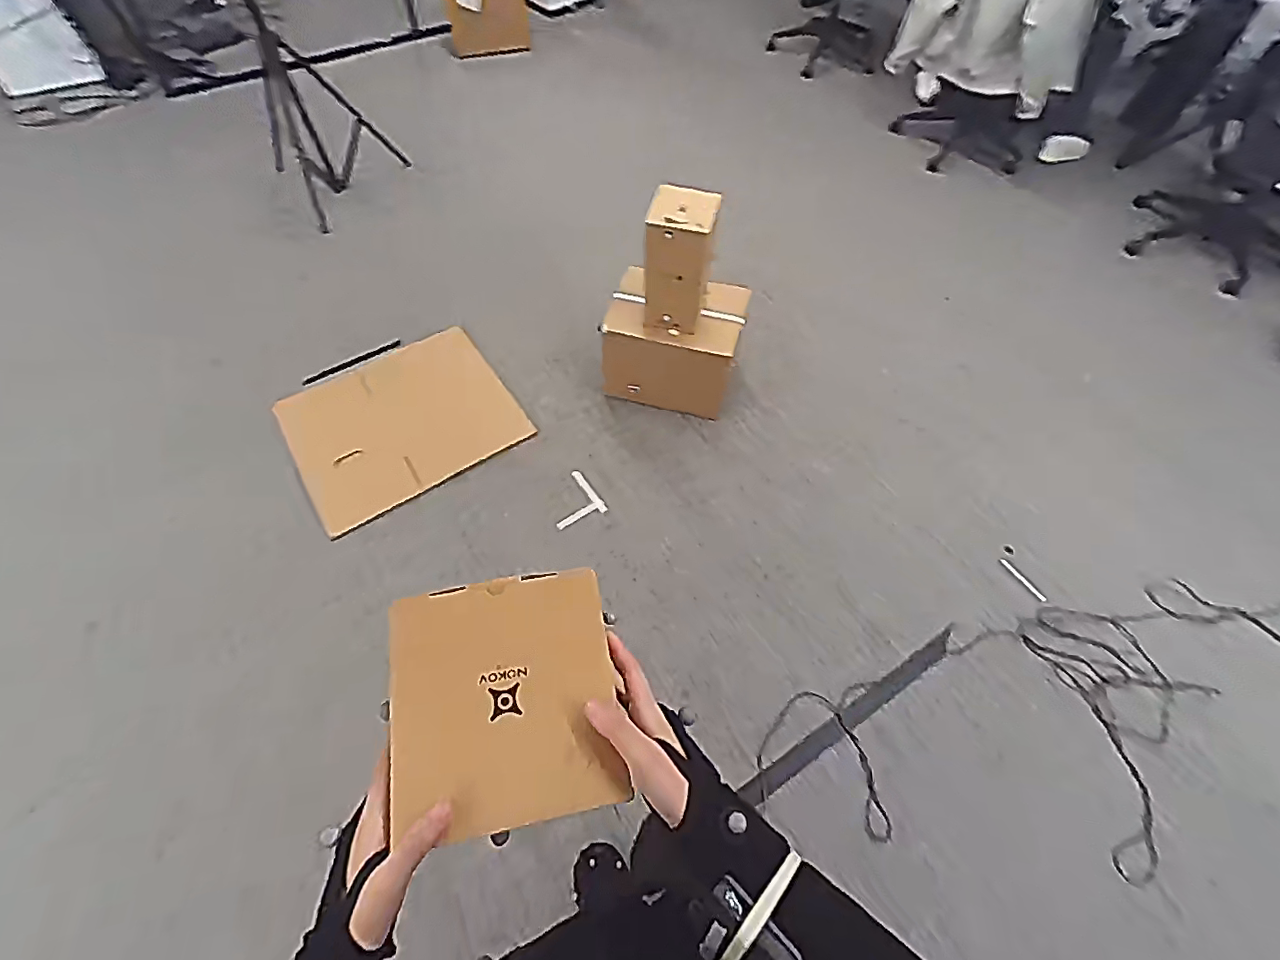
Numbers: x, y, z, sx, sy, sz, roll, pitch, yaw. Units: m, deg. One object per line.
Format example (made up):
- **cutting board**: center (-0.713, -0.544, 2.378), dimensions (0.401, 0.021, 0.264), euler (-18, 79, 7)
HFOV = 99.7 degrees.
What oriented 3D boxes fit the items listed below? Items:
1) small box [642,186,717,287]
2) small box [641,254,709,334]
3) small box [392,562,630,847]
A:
- **small box**: center (0.102, -0.652, 1.454), dimensions (0.168, 0.176, 0.179), euler (13, 59, 8)
- **small box**: center (0.099, -0.564, 1.593), dimensions (0.168, 0.176, 0.179), euler (13, 60, 7)
- **small box**: center (-0.105, 0.190, 0.475), dimensions (0.168, 0.176, 0.179), euler (-8, 64, -9)
